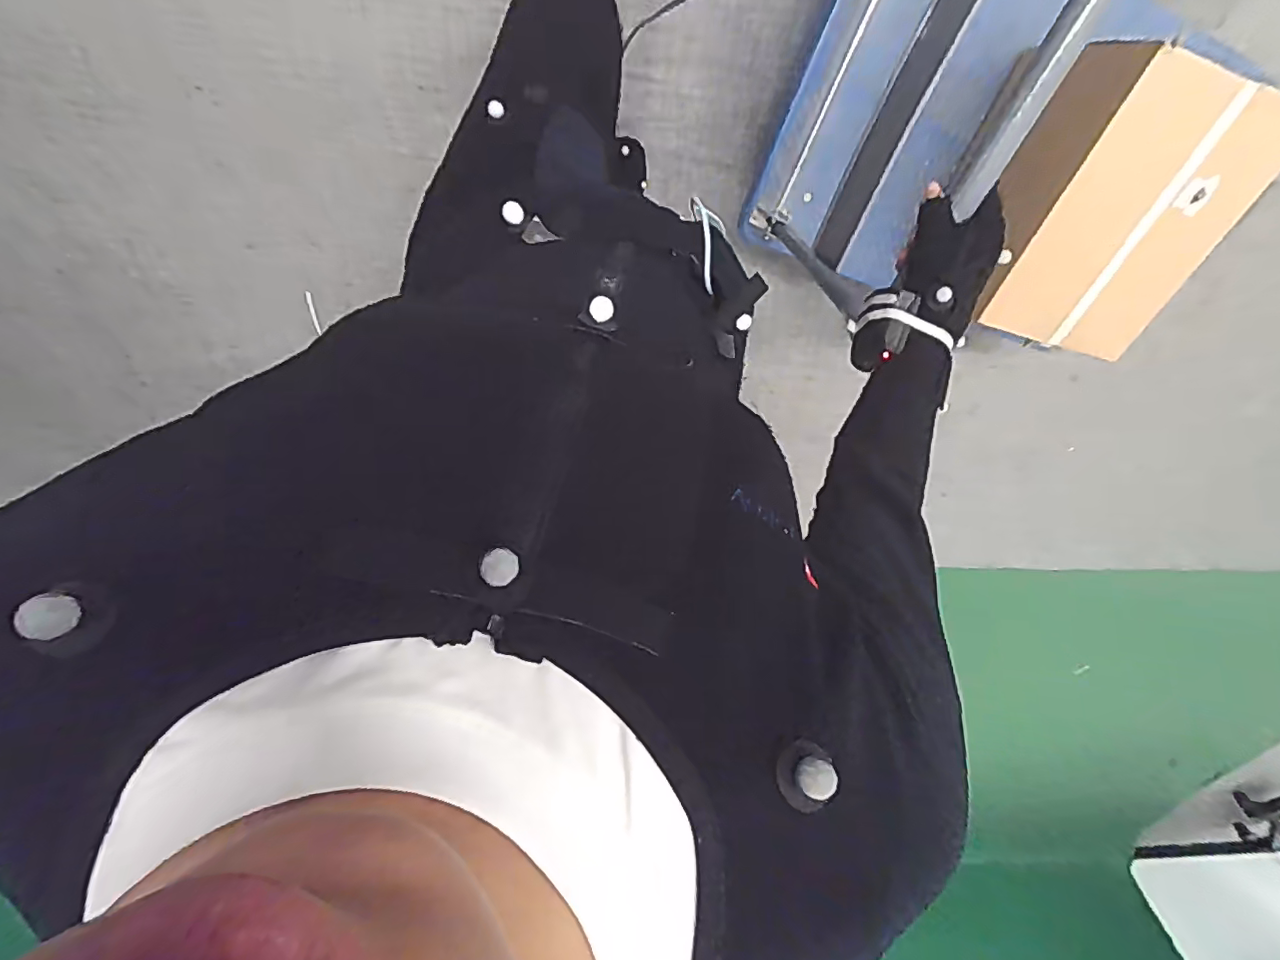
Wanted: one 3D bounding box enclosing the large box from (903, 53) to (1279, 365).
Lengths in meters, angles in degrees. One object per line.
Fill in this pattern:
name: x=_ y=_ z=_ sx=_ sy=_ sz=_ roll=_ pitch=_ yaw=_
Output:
large box: x=0.774 y=-0.482 z=0.991 sx=0.320 sy=0.320 sz=0.408 roll=10 pitch=125 yaw=-12
